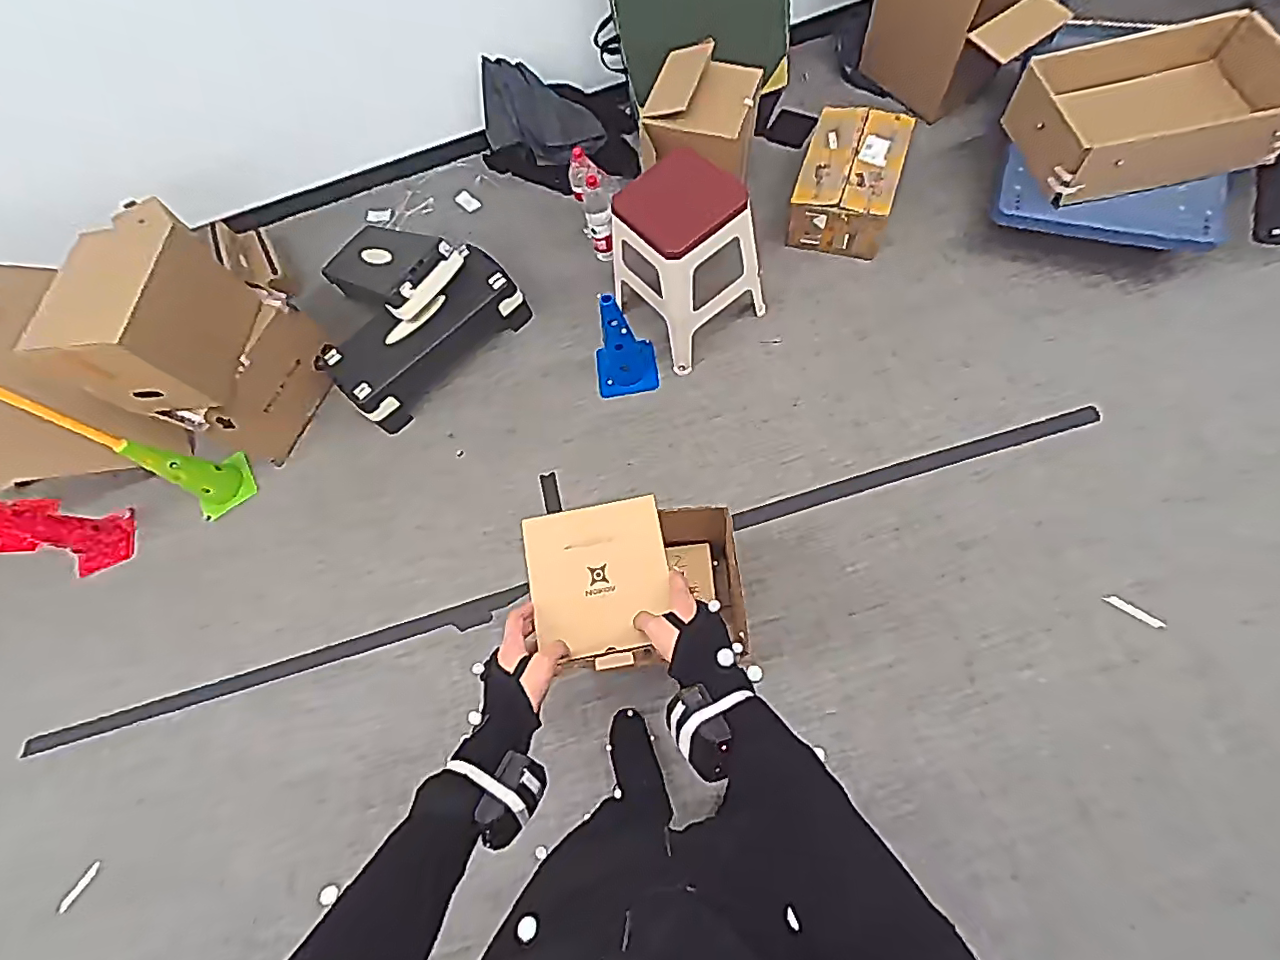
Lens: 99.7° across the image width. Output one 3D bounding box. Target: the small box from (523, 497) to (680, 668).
[{"bbox_3d":[-0.042,0.134,0.701,0.168,0.176,0.179,-10,75,0],"label":"small box"}]
